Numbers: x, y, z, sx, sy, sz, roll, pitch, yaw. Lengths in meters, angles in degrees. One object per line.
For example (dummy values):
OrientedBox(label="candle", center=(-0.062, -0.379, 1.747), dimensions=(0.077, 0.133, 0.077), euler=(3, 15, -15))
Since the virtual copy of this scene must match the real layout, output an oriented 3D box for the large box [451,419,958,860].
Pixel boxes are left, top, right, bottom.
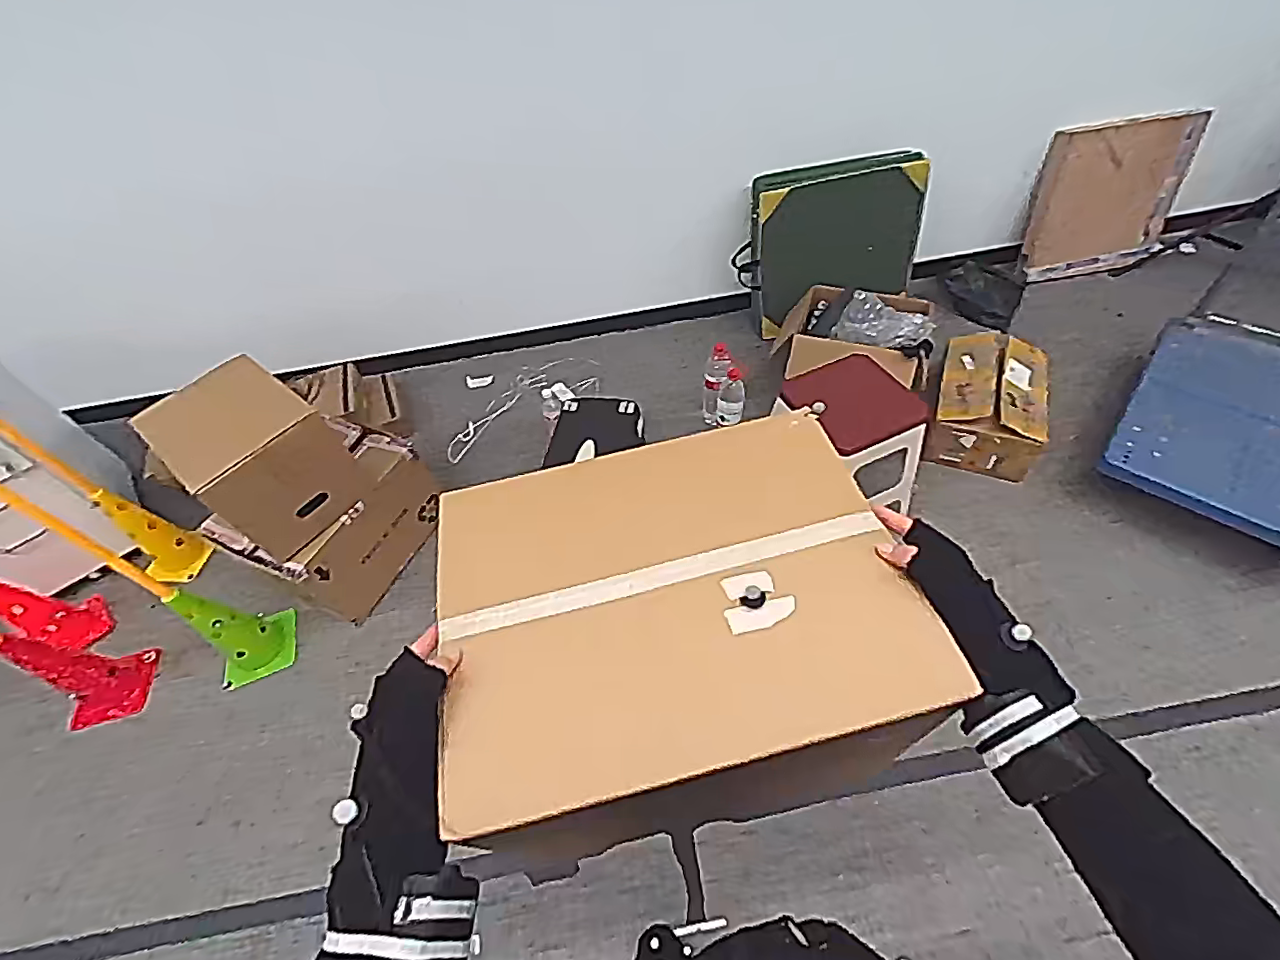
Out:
OrientedBox(label="large box", center=(0.038, 0.184, 0.611), dimensions=(0.408, 0.320, 0.320), euler=(-13, 52, -4))
